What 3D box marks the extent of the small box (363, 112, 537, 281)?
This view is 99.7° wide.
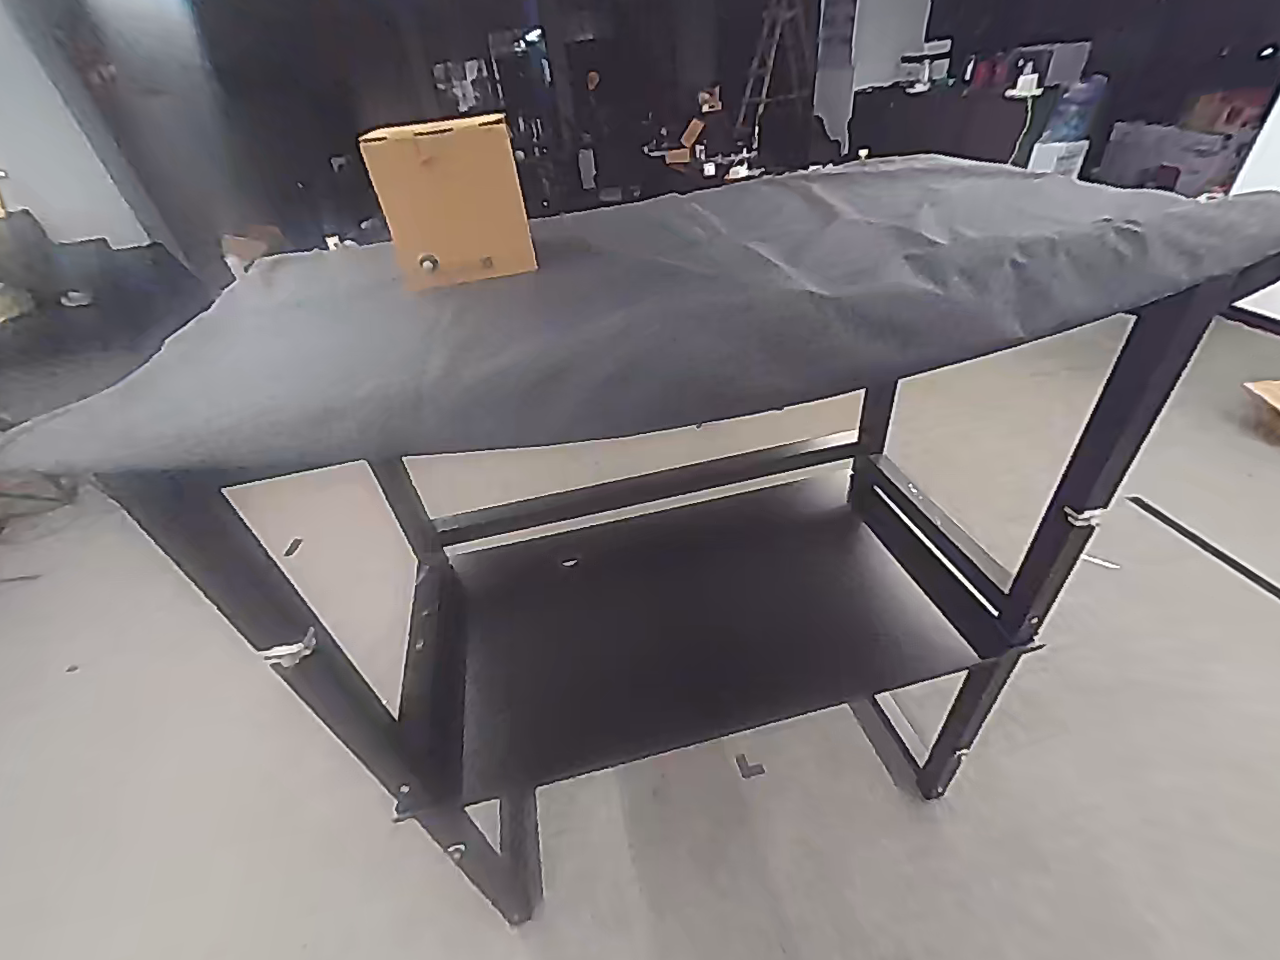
[{"bbox_3d":[-0.238,-0.375,0.721,0.168,0.176,0.179,-12,37,-6],"label":"small box"}]
